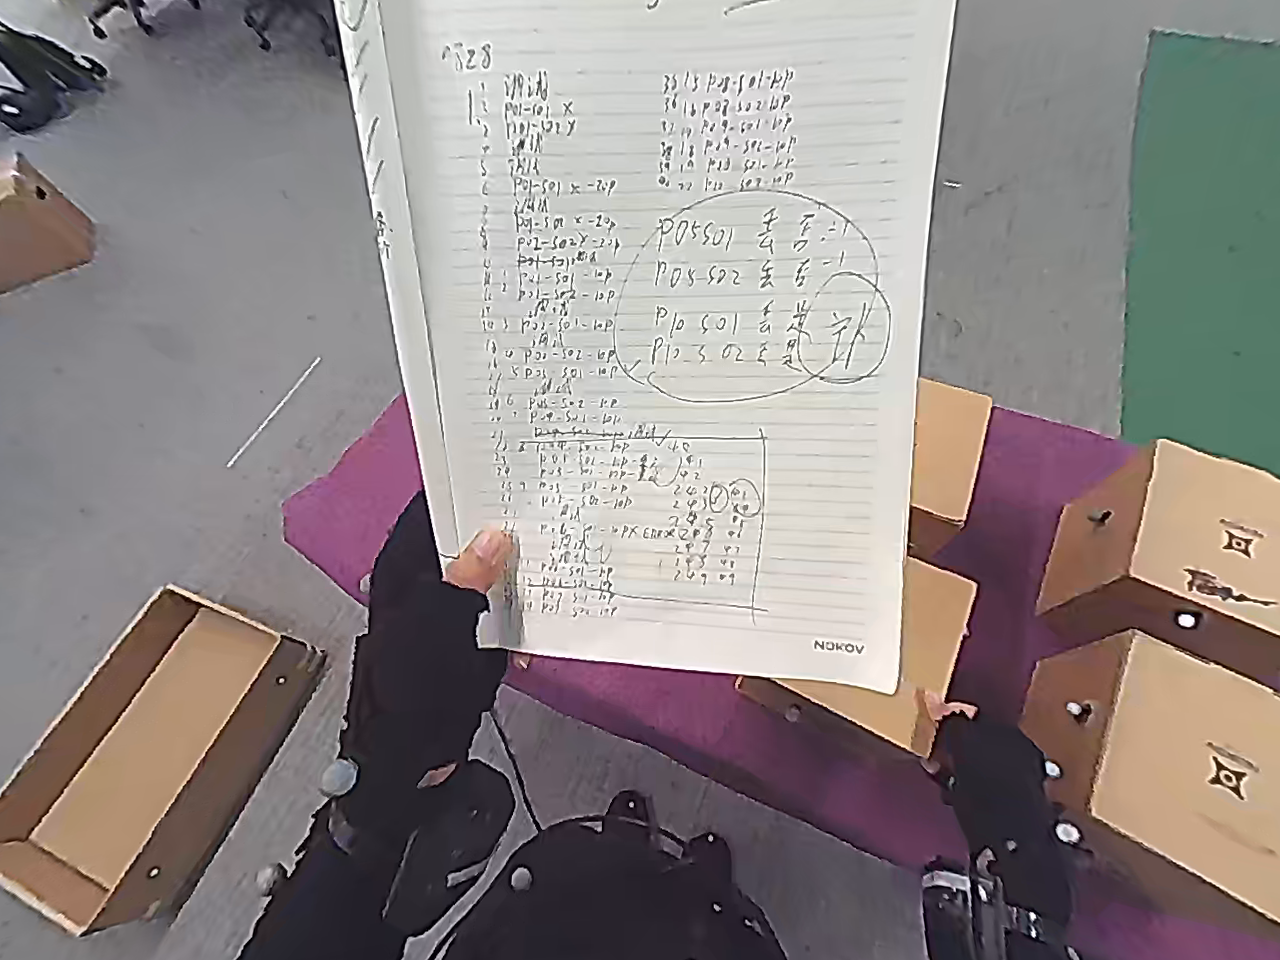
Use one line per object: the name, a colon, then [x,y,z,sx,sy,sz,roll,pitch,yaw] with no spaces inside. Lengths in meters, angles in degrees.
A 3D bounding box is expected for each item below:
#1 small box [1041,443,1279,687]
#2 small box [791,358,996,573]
small box: [0.581,0.098,0.587,0.168,0.176,0.179,26,67,18]
small box: [0.300,-0.012,0.670,0.168,0.176,0.179,22,67,16]
